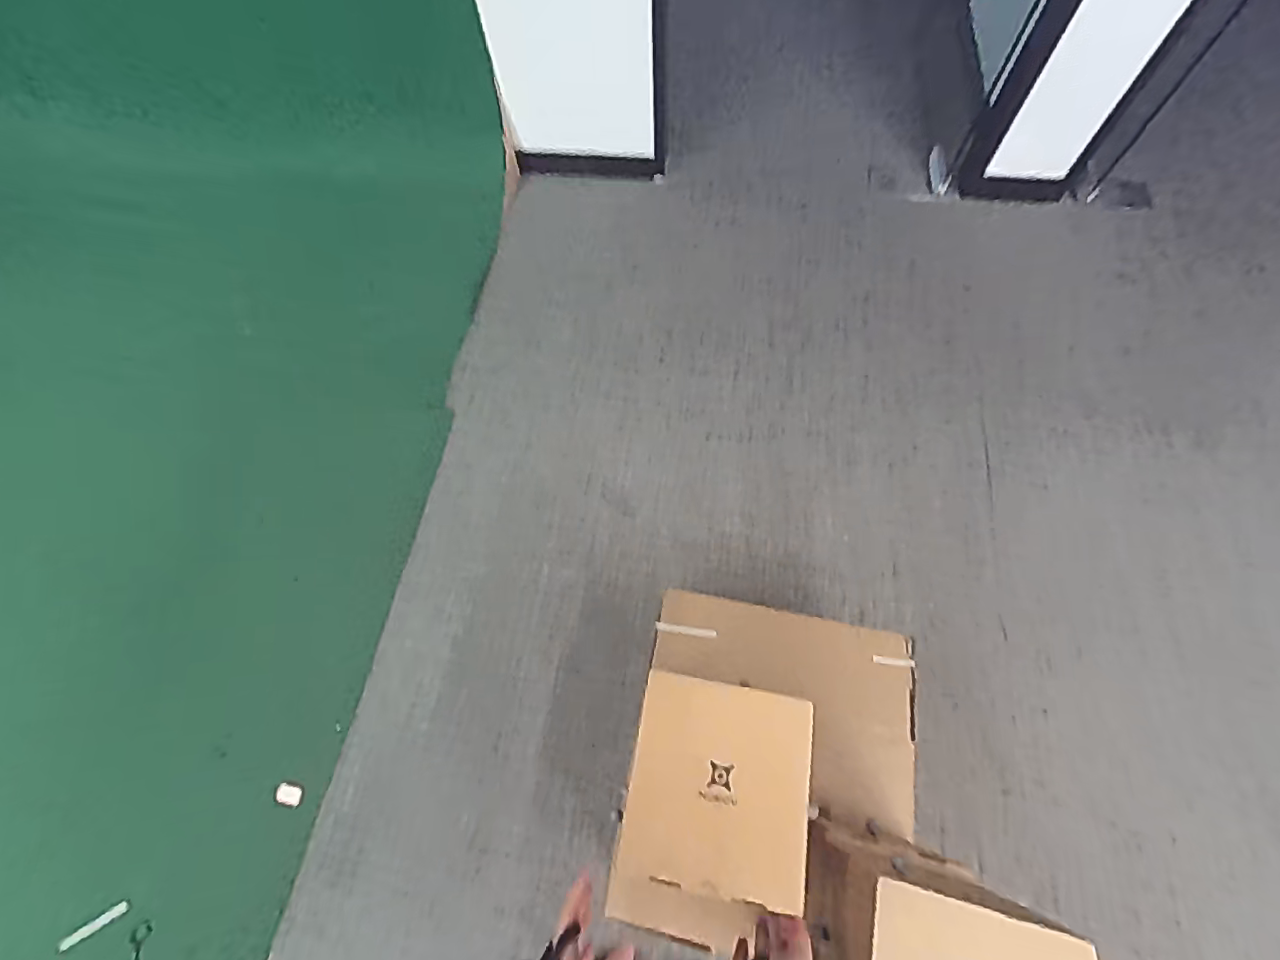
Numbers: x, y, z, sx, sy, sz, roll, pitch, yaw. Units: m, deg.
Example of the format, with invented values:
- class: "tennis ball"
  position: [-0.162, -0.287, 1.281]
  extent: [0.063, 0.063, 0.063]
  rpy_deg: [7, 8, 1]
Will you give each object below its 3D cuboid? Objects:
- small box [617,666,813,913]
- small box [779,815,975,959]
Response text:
- class: "small box"
  position: [0.077, 0.313, 0.575]
  extent: [0.168, 0.176, 0.179]
  rpy_deg: [9, 65, 7]
- class: "small box"
  position: [0.270, 0.520, 0.643]
  extent: [0.168, 0.176, 0.179]
  rpy_deg: [12, 64, 8]
